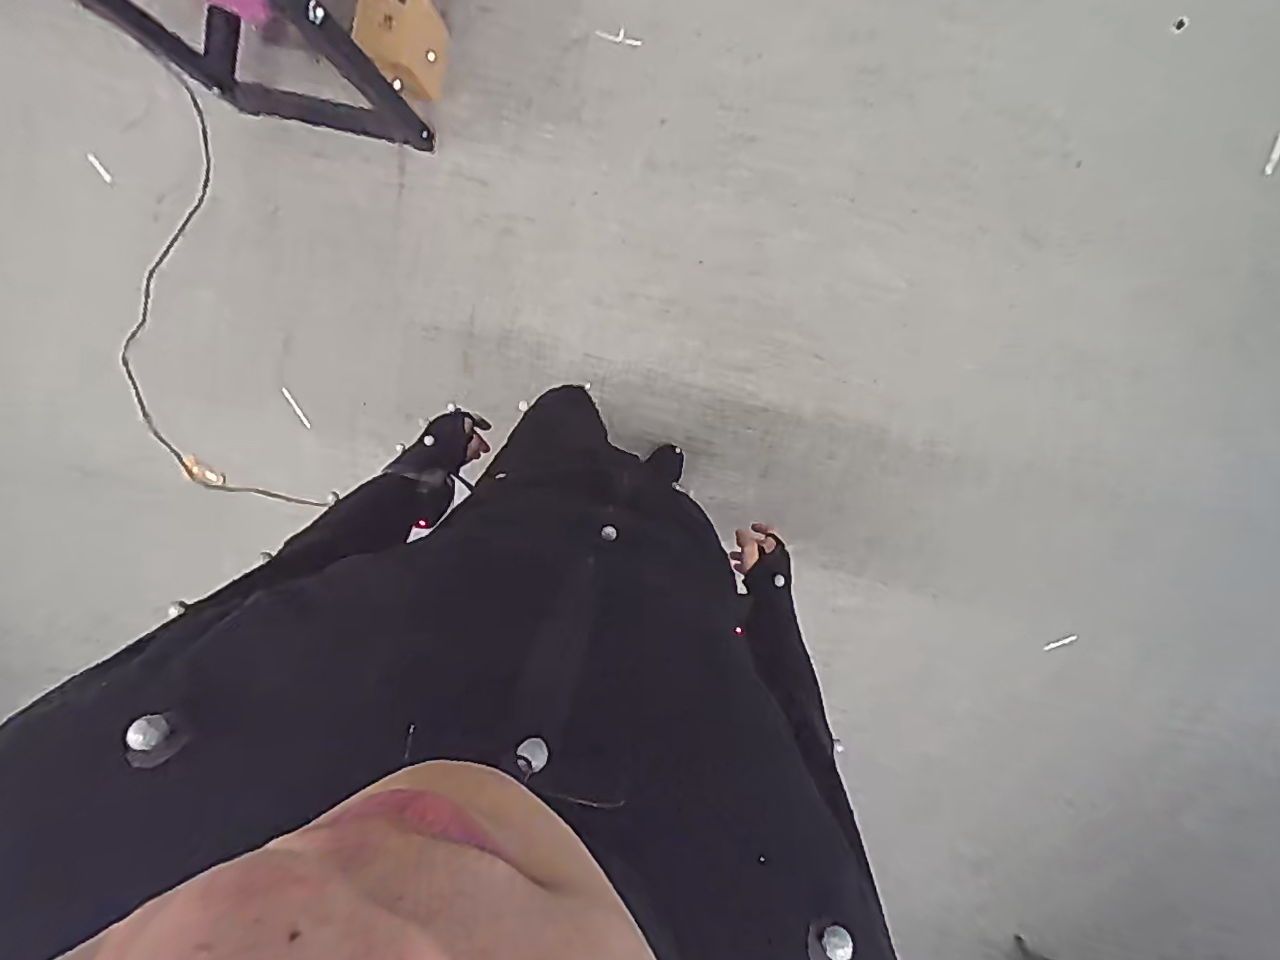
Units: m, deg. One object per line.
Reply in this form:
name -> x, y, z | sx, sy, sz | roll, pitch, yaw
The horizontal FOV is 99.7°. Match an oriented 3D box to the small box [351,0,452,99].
small box -> -0.615, -1.142, 1.411 | 0.168, 0.176, 0.179 | 17, 99, 1
